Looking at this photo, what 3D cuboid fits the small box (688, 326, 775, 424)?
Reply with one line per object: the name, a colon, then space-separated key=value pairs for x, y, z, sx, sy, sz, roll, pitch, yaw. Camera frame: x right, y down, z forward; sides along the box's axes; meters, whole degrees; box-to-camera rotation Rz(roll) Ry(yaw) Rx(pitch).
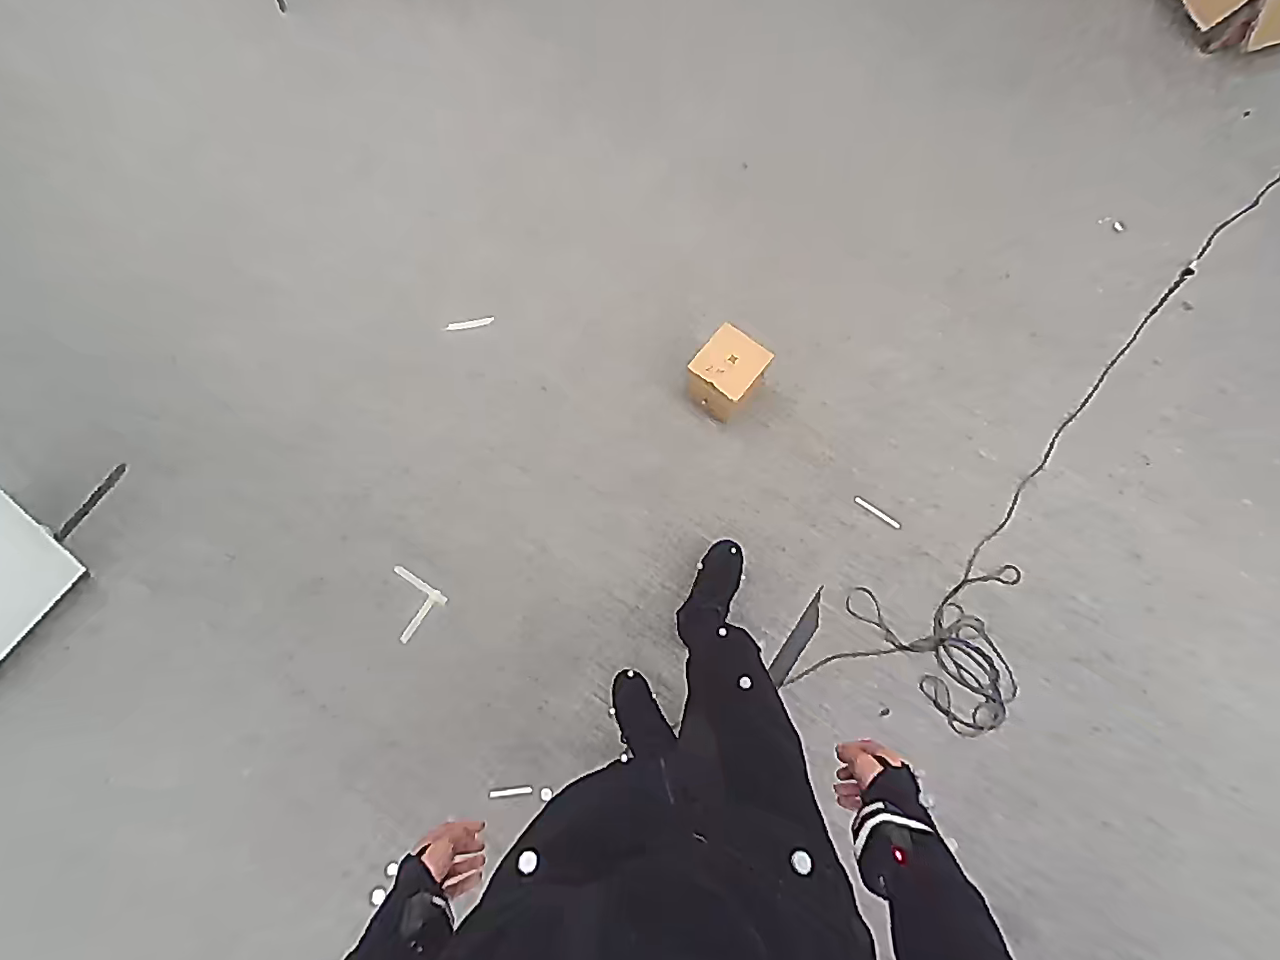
small box: x=0.246 y=-0.289 z=1.518 sx=0.168 sy=0.176 sz=0.179 roll=39 pitch=81 yaw=10
